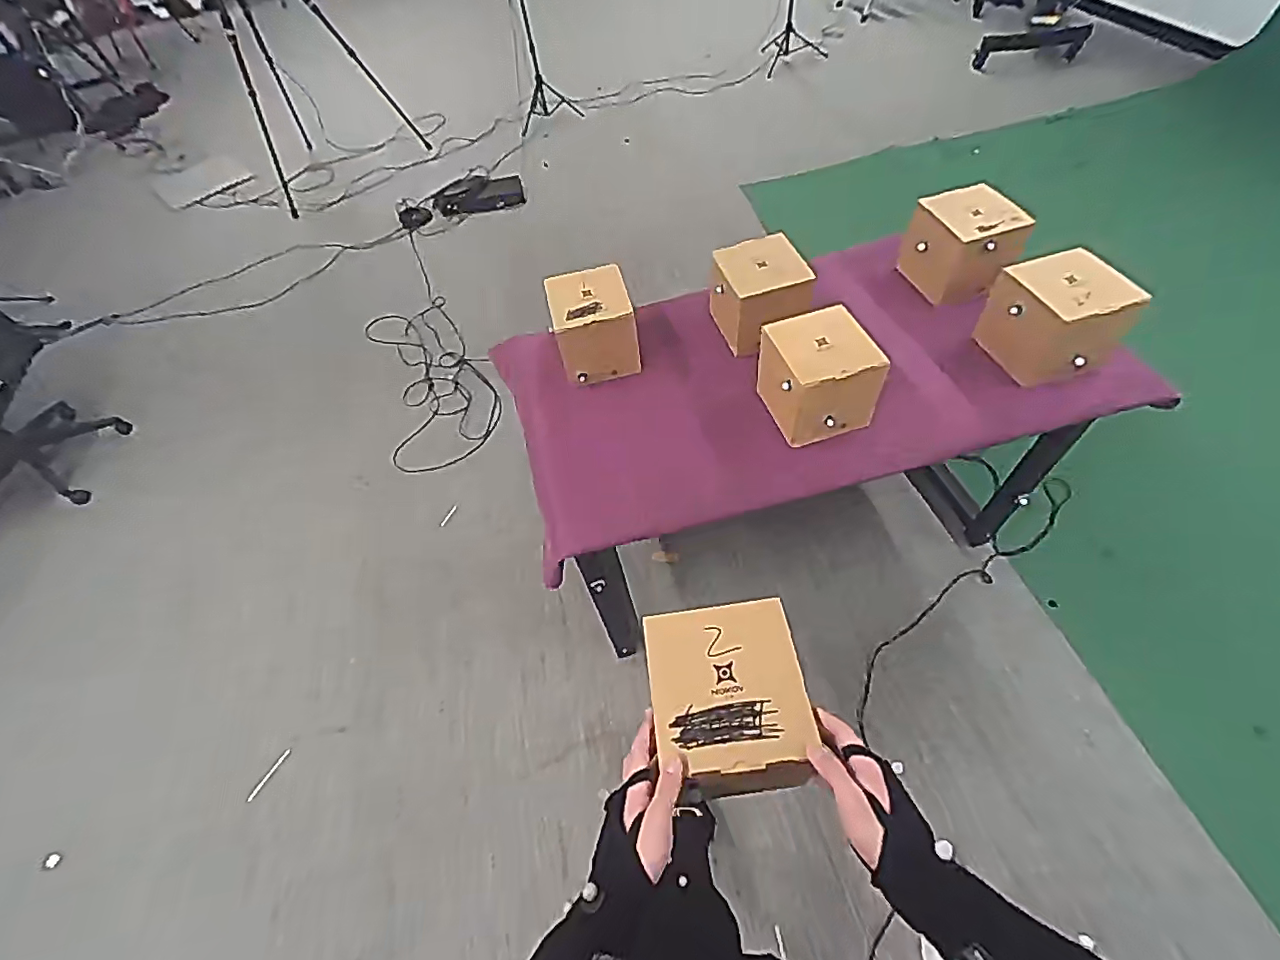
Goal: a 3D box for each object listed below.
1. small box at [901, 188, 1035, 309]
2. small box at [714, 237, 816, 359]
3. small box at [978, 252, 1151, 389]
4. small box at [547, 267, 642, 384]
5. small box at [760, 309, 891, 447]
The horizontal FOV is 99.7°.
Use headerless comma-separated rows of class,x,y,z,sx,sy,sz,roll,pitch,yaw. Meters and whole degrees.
small box,0.721,-0.517,1.216,0.168,0.176,0.179,-17,54,-3
small box,0.265,-0.398,1.194,0.168,0.176,0.179,-16,55,-3
small box,0.805,-0.308,1.054,0.168,0.176,0.179,-16,54,-2
small box,-0.097,-0.330,1.188,0.168,0.176,0.179,-13,55,-3
small box,0.342,-0.193,1.039,0.168,0.176,0.179,-16,54,-5
